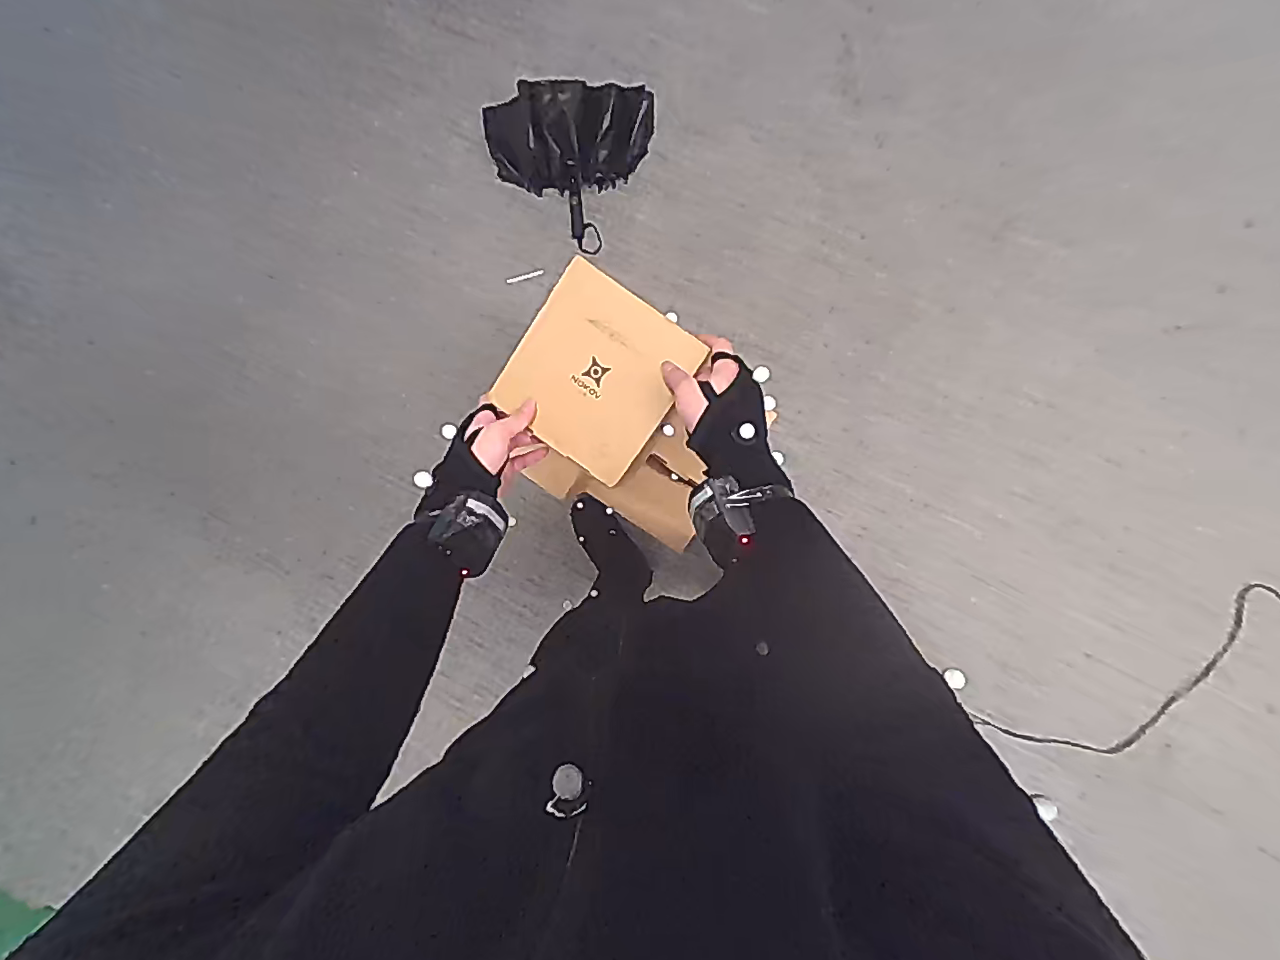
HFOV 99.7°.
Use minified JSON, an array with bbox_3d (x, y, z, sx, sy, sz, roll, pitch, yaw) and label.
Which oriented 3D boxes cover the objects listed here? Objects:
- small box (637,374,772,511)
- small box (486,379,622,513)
[{"bbox_3d":[0.116,-0.062,0.982,0.168,0.176,0.179,35,92,5],"label":"small box"},{"bbox_3d":[-0.147,-0.062,1.005,0.168,0.176,0.179,35,96,4],"label":"small box"}]
